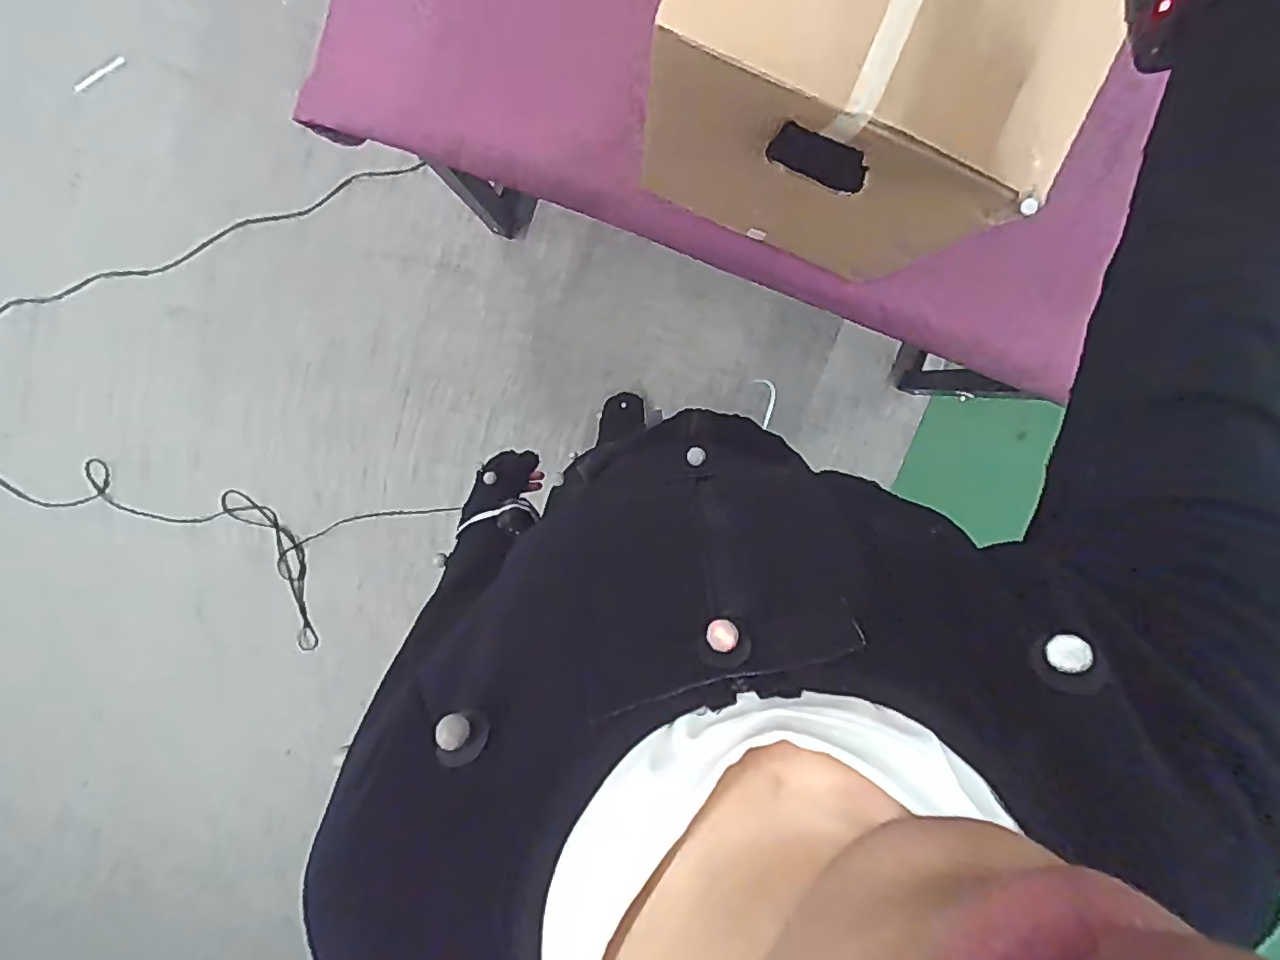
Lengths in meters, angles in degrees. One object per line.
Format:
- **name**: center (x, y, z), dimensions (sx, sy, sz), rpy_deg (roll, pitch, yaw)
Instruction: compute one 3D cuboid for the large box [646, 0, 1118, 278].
- **large box**: center (0.223, -0.473, 0.525), dimensions (0.320, 0.320, 0.408), rpy_deg (22, 99, -5)
